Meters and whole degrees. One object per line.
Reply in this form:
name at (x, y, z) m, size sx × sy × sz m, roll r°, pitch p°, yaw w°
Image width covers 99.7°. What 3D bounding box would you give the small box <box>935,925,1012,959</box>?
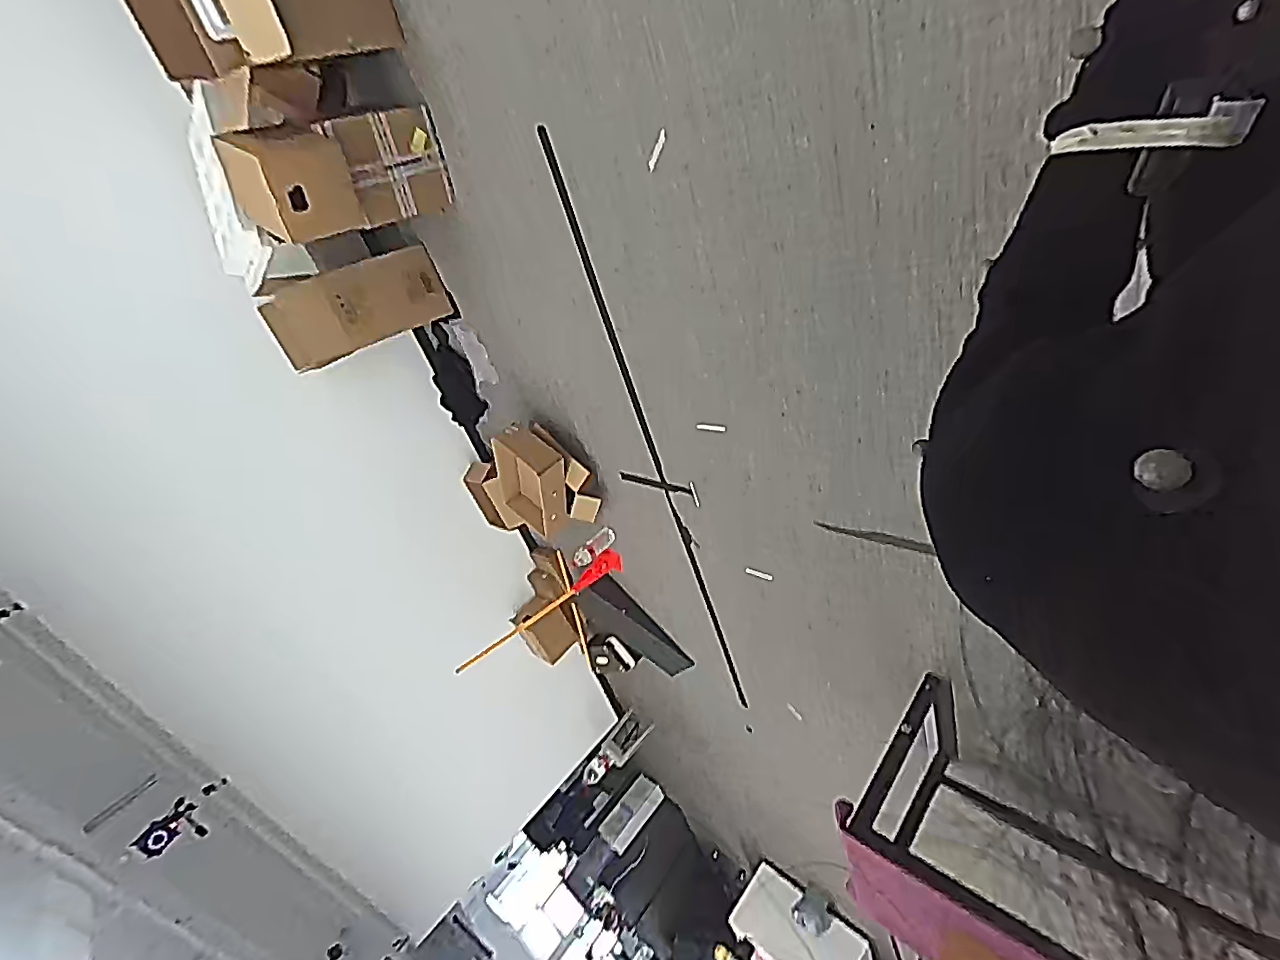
small box at (0.981, 1.463, 1.587) m, size 0.179 × 0.176 × 0.168 m, roll 11°, pitch 133°, yaw 46°
